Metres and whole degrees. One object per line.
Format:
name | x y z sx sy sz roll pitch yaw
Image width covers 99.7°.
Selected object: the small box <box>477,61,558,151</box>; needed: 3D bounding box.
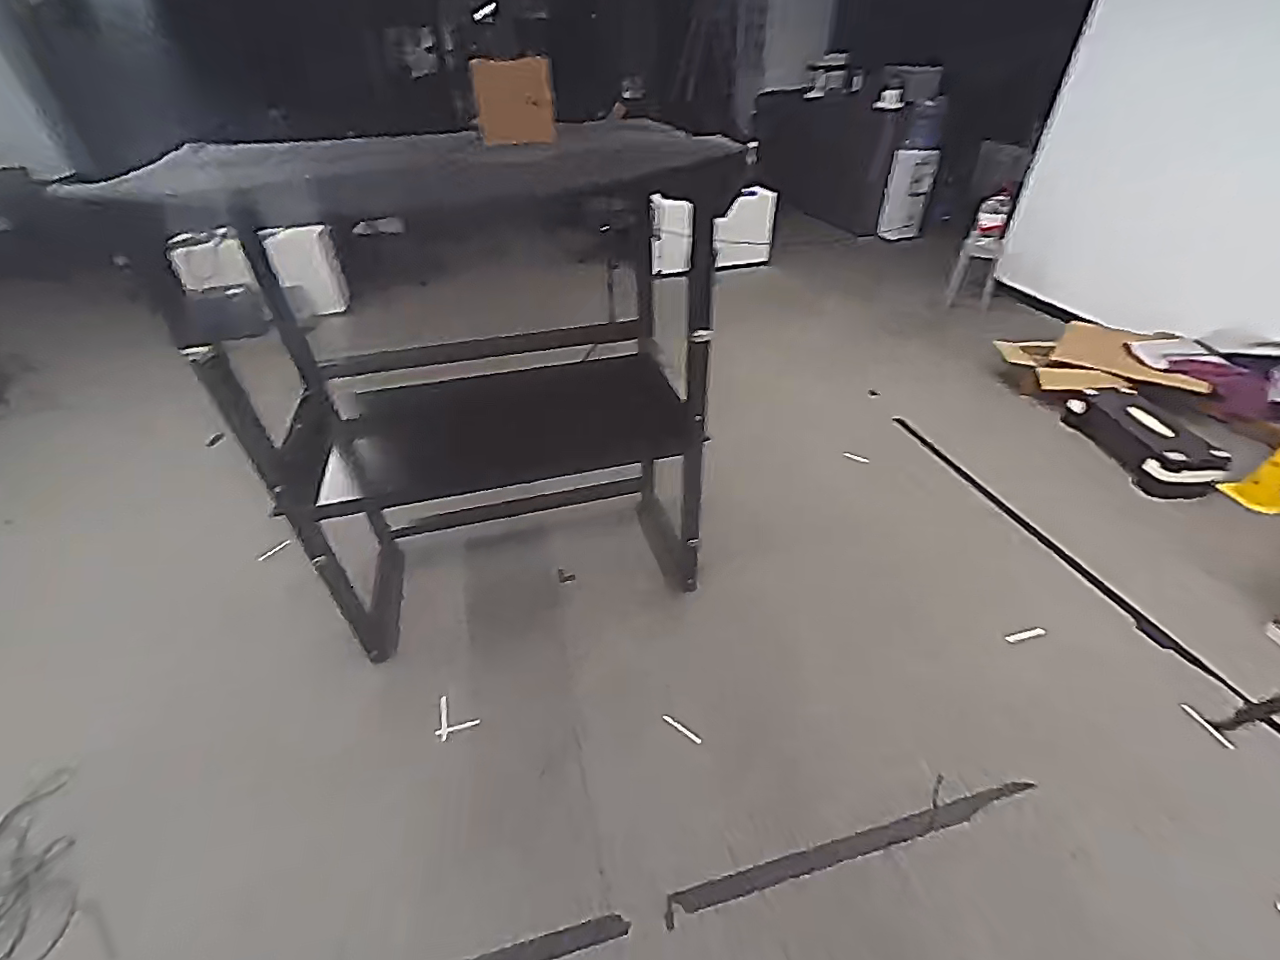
small box | -0.300 -0.929 1.341 0.179 0.176 0.168 -9 39 -9
